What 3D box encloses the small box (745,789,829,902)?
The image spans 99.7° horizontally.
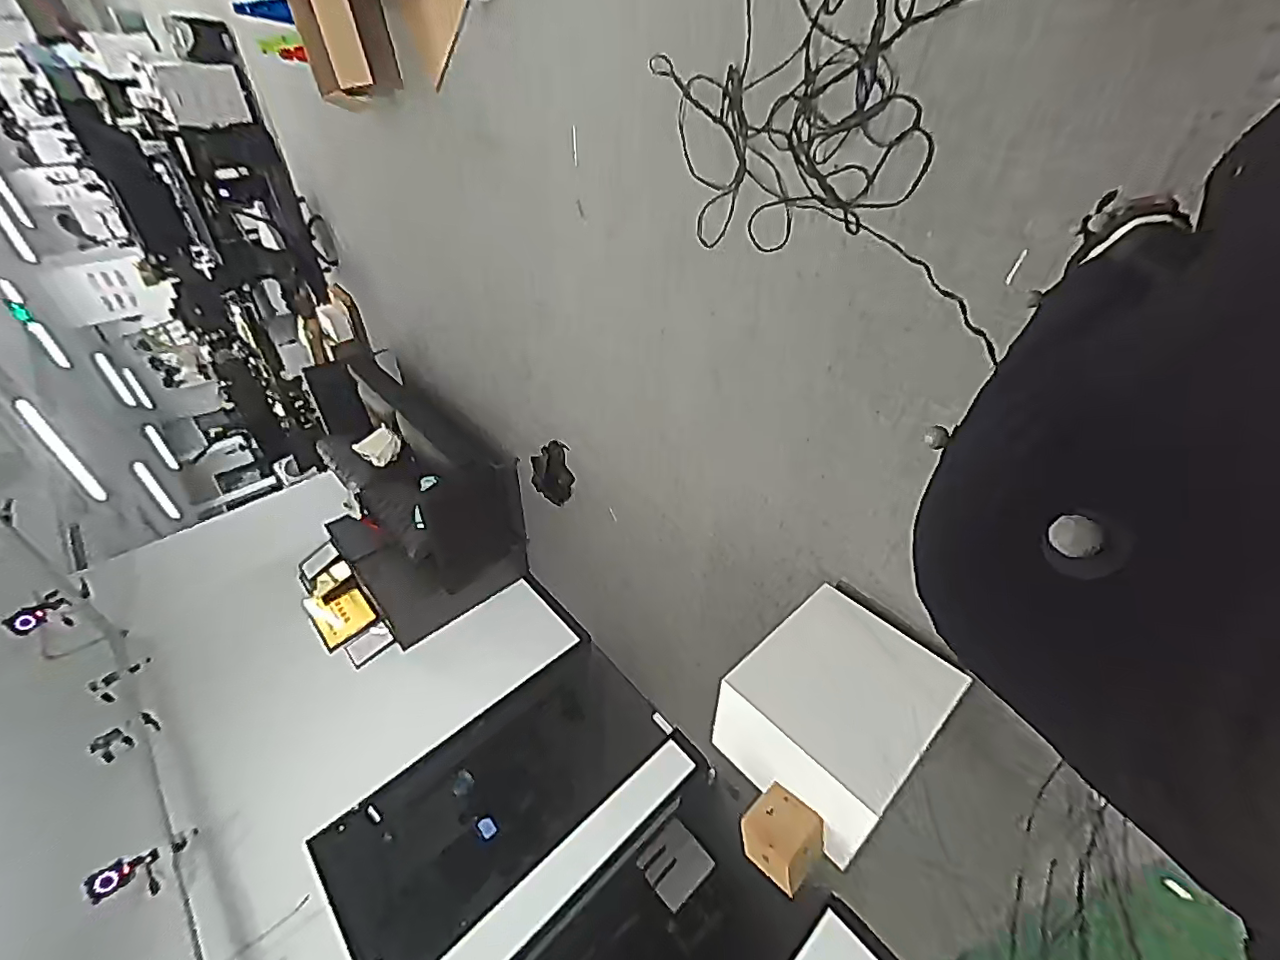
[{"bbox_3d":[0.430,1.049,1.568,0.168,0.176,0.179,20,130,48],"label":"small box"}]
